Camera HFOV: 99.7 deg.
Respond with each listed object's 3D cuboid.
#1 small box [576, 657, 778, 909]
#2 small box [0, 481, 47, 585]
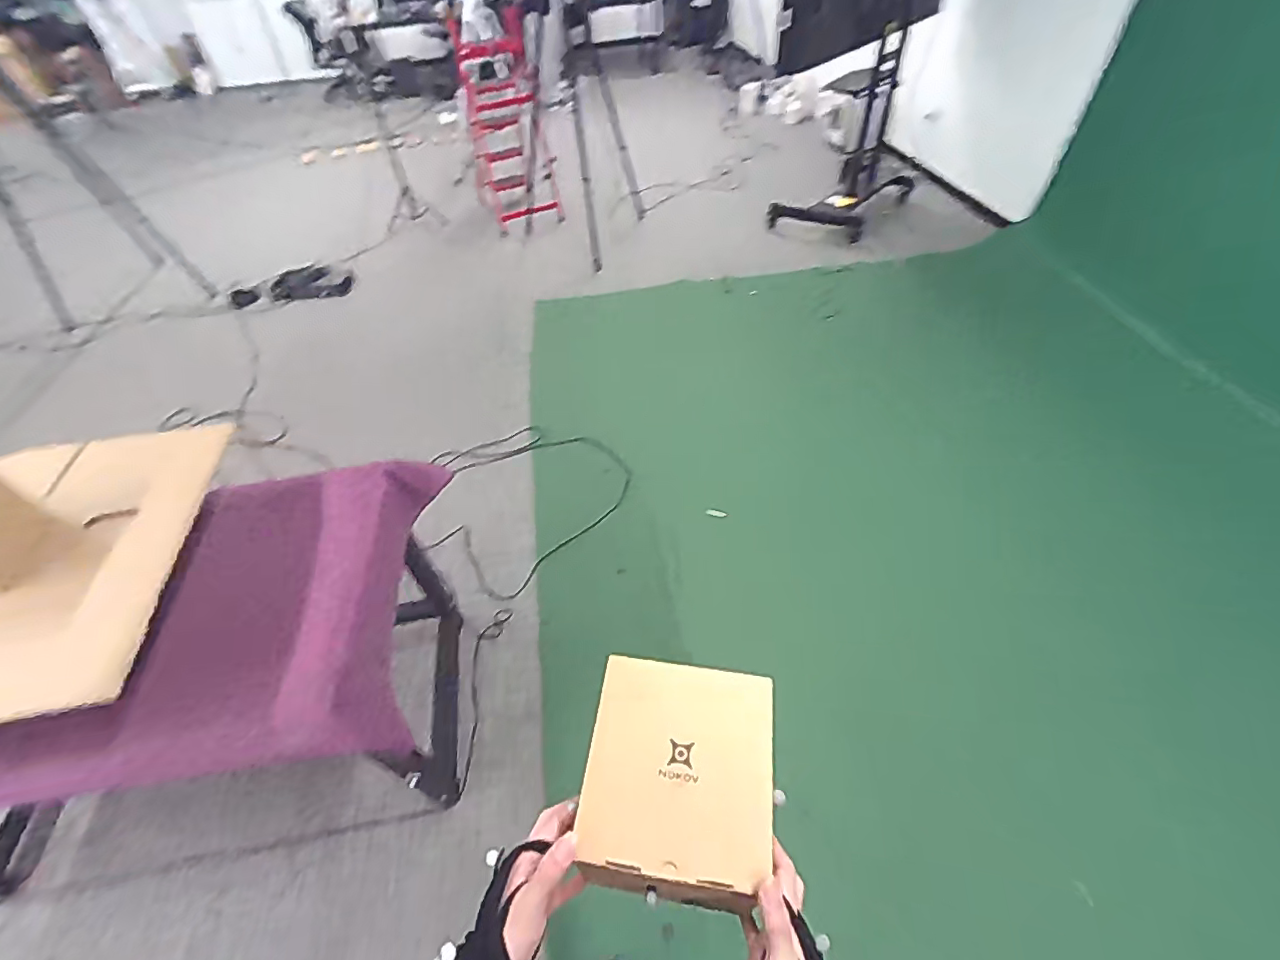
[{"bbox_3d":[0.039,0.304,0.542,0.168,0.176,0.179,6,50,6],"label":"small box"},{"bbox_3d":[-1.141,0.083,0.870,0.168,0.176,0.179,-10,48,-7],"label":"small box"}]
